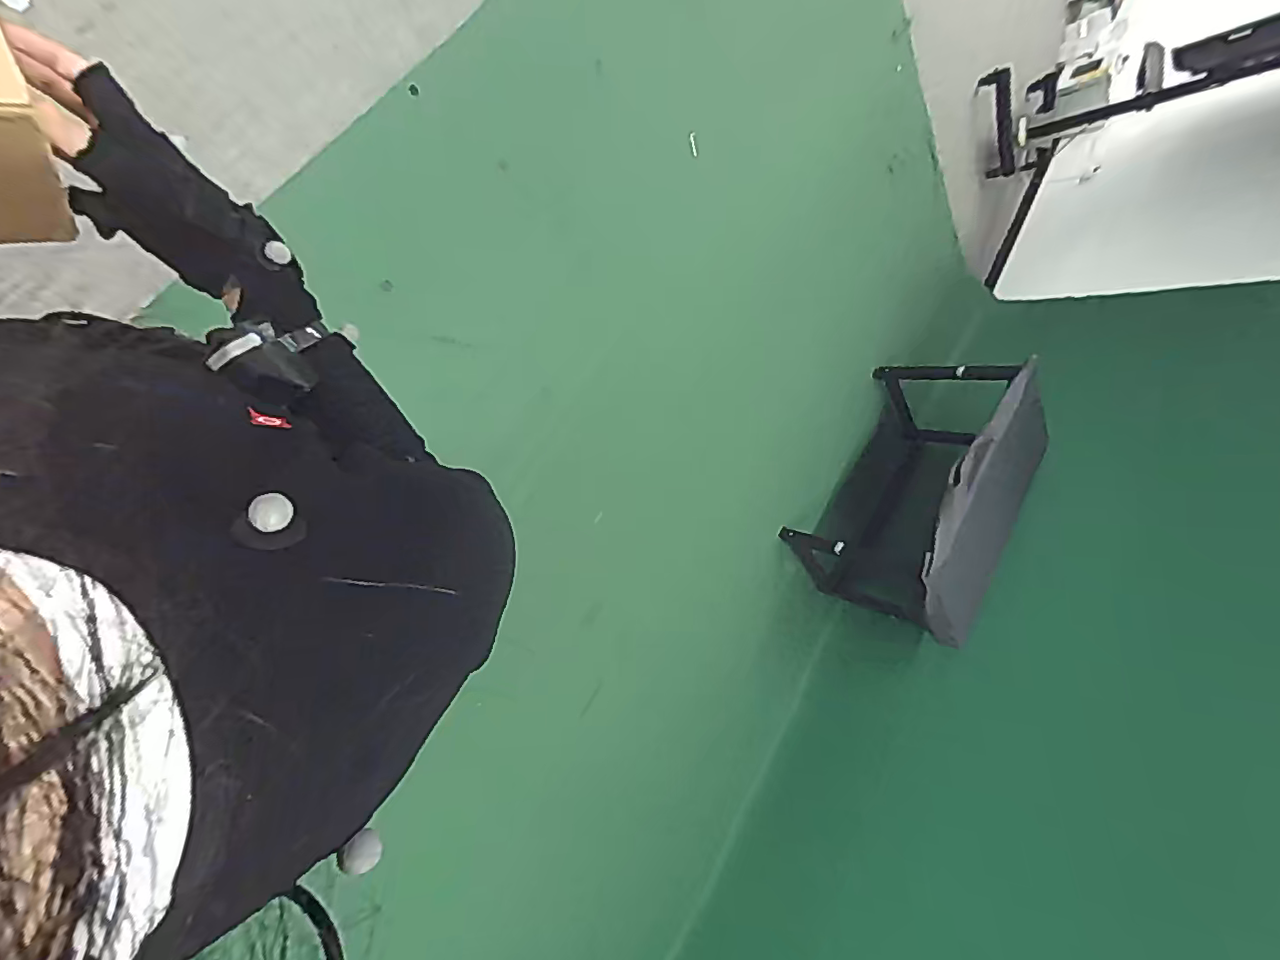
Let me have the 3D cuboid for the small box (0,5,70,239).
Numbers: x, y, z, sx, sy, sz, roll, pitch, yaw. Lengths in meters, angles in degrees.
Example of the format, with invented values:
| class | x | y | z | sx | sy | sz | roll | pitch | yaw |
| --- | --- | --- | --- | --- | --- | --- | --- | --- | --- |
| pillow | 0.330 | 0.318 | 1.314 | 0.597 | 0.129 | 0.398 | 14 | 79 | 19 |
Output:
| class | x | y | z | sx | sy | sz | roll | pitch | yaw |
| --- | --- | --- | --- | --- | --- | --- | --- | --- | --- |
| small box | -0.423 | -0.233 | 0.255 | 0.168 | 0.176 | 0.179 | -25 | 105 | -40 |
